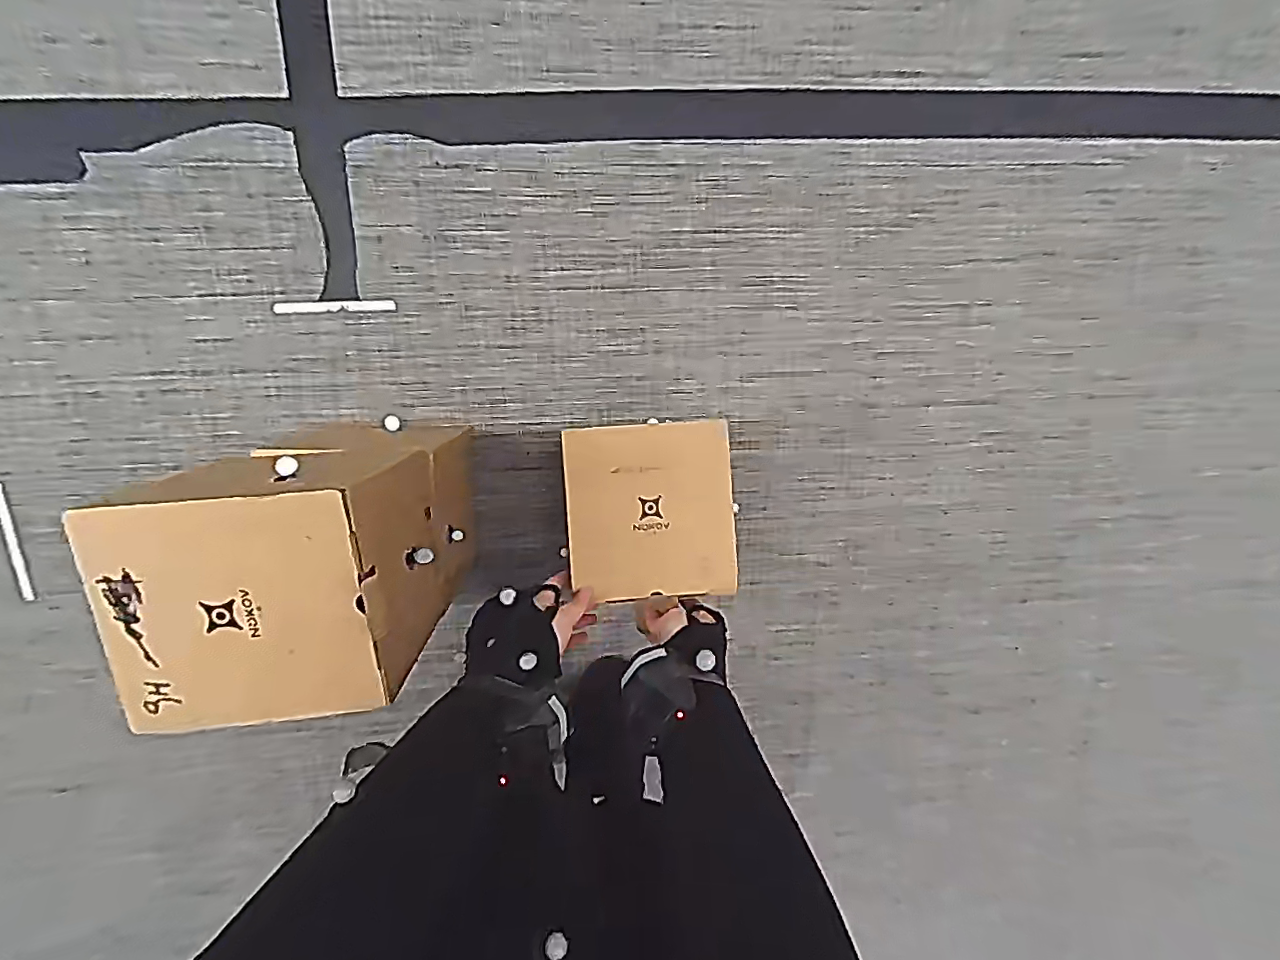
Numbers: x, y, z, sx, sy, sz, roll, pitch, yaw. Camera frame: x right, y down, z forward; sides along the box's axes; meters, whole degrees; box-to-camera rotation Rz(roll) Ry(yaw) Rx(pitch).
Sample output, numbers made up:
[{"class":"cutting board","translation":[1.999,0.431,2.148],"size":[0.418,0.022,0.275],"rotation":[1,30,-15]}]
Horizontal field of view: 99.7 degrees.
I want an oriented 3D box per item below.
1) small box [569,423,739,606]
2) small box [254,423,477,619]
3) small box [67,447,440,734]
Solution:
[{"class":"small box","translation":[0.010,0.031,0.605],"size":[0.168,0.176,0.179],"rotation":[-3,91,-4]},{"class":"small box","translation":[-0.280,0.036,0.595],"size":[0.168,0.176,0.179],"rotation":[1,102,-6]},{"class":"small box","translation":[-0.271,0.070,0.434],"size":[0.179,0.176,0.168],"rotation":[-4,103,-5]}]
